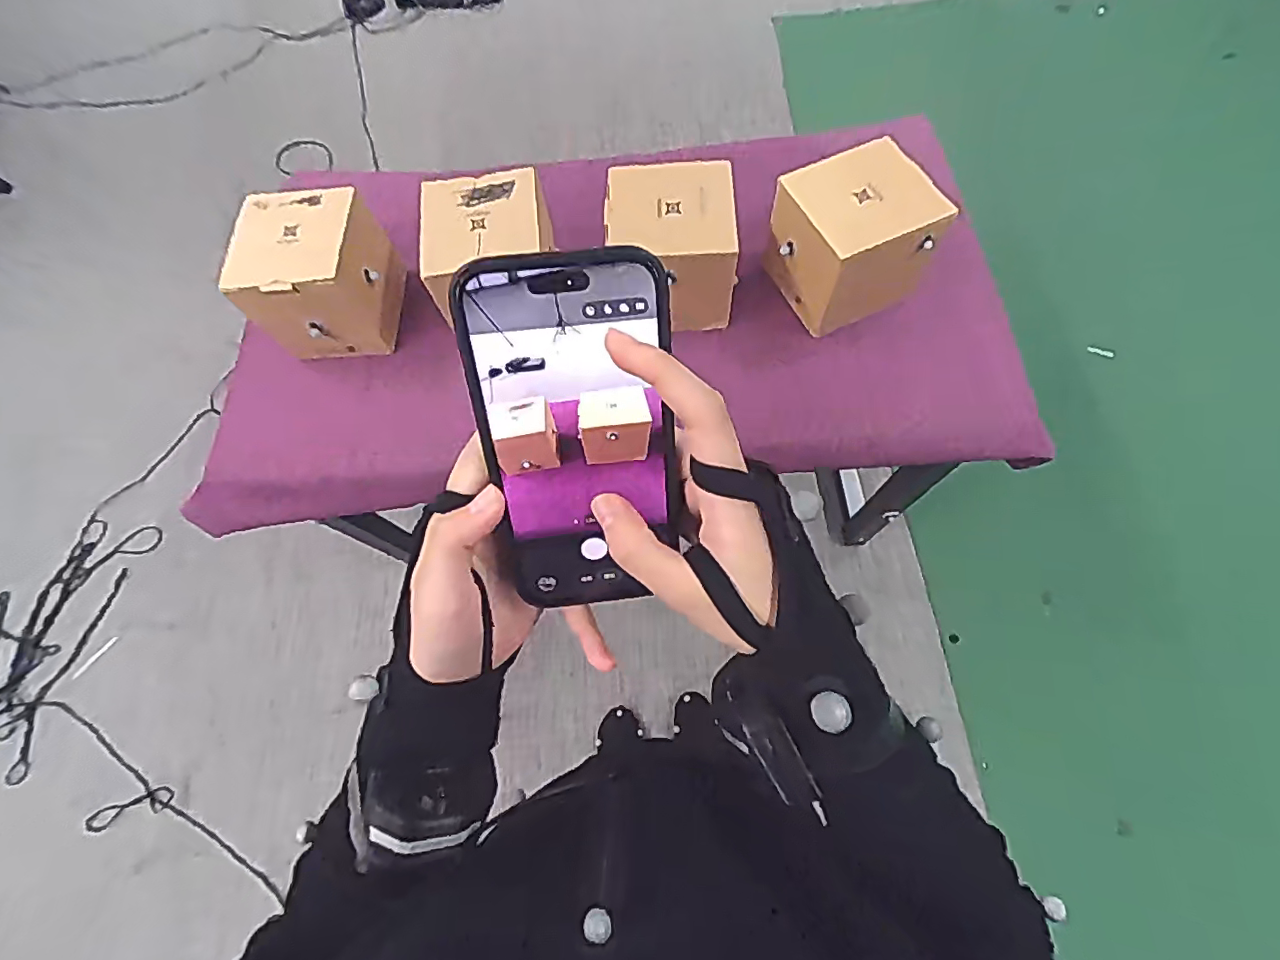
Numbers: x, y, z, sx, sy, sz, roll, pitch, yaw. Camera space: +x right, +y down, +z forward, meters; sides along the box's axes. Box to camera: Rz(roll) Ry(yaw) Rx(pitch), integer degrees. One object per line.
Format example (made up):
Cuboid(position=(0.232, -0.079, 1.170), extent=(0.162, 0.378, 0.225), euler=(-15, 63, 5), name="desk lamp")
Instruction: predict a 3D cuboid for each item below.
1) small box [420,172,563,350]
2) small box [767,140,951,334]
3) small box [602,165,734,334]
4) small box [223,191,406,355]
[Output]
Cuboid(position=(-0.216, -0.326, 0.823), extent=(0.168, 0.176, 0.179), euler=(-8, 68, 1), name="small box")
Cuboid(position=(0.301, -0.346, 0.794), extent=(0.179, 0.176, 0.168), euler=(-24, 68, -6), name="small box")
Cuboid(position=(0.043, -0.335, 0.810), extent=(0.179, 0.176, 0.168), euler=(-1, 69, 3), name="small box")
Cuboid(position=(-0.484, -0.306, 0.834), extent=(0.168, 0.176, 0.179), euler=(-3, 68, 3), name="small box")
